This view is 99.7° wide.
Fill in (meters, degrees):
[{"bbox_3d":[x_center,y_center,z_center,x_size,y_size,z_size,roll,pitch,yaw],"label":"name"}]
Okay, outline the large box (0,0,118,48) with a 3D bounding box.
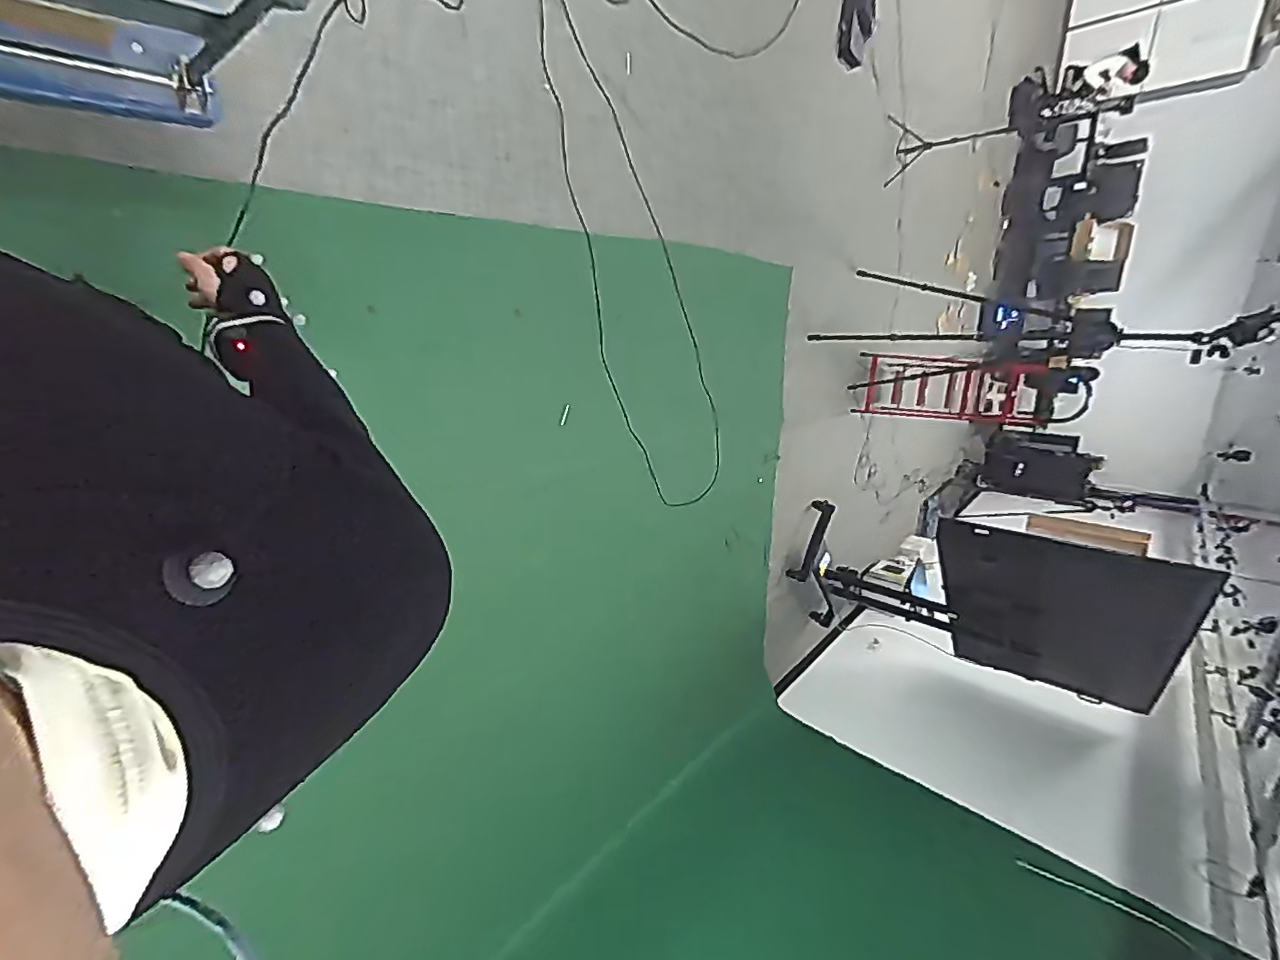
[{"bbox_3d":[-0.971,-0.908,0.726,0.320,0.320,0.408,-19,113,-45],"label":"large box"}]
